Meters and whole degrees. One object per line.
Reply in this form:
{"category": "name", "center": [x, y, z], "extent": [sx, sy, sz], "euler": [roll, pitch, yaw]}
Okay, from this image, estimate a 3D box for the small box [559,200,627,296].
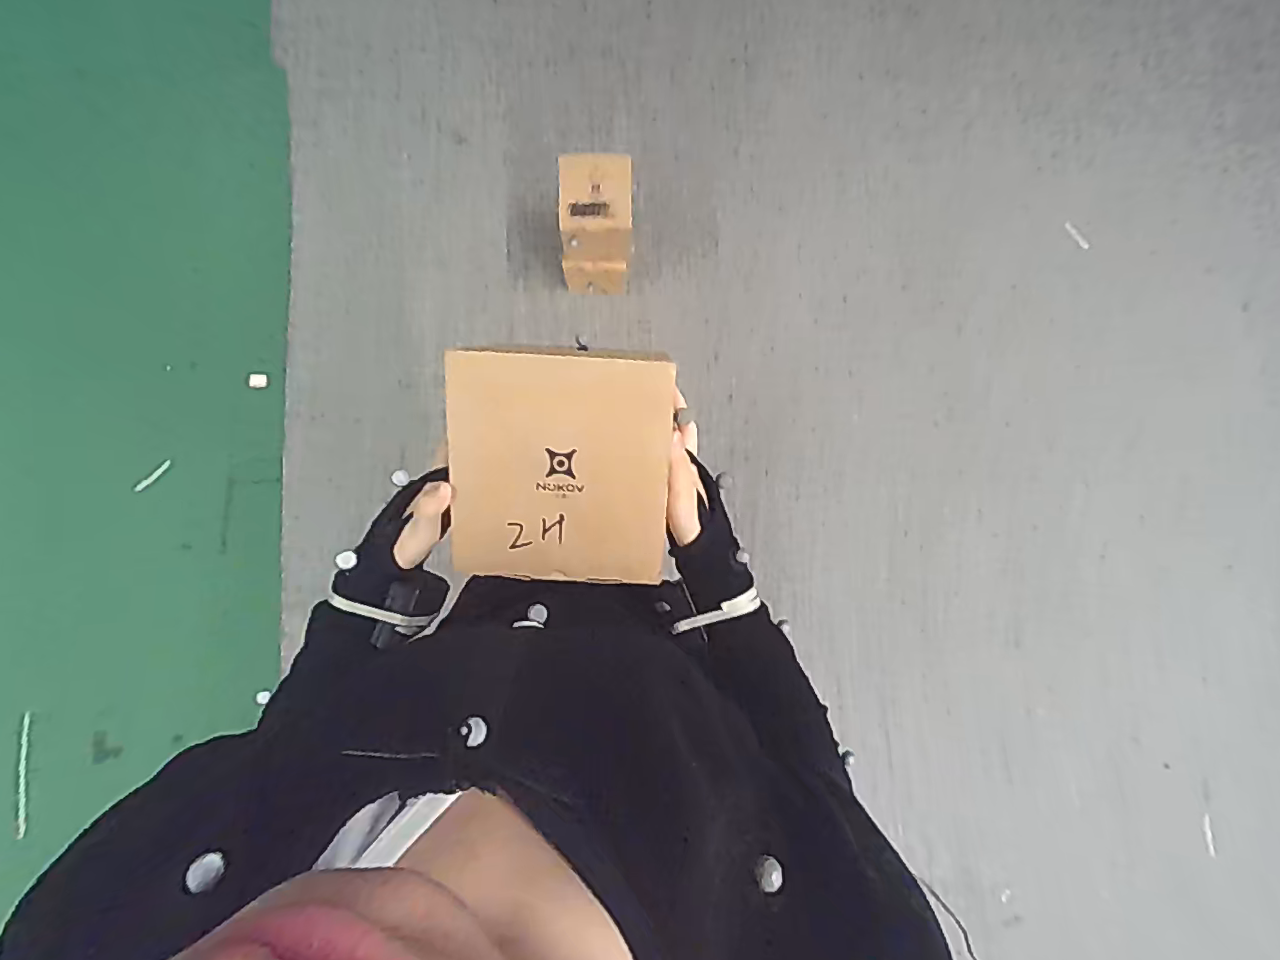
{"category": "small box", "center": [-0.125, -0.624, 1.466], "extent": [0.168, 0.176, 0.179], "euler": [4, 87, -3]}
